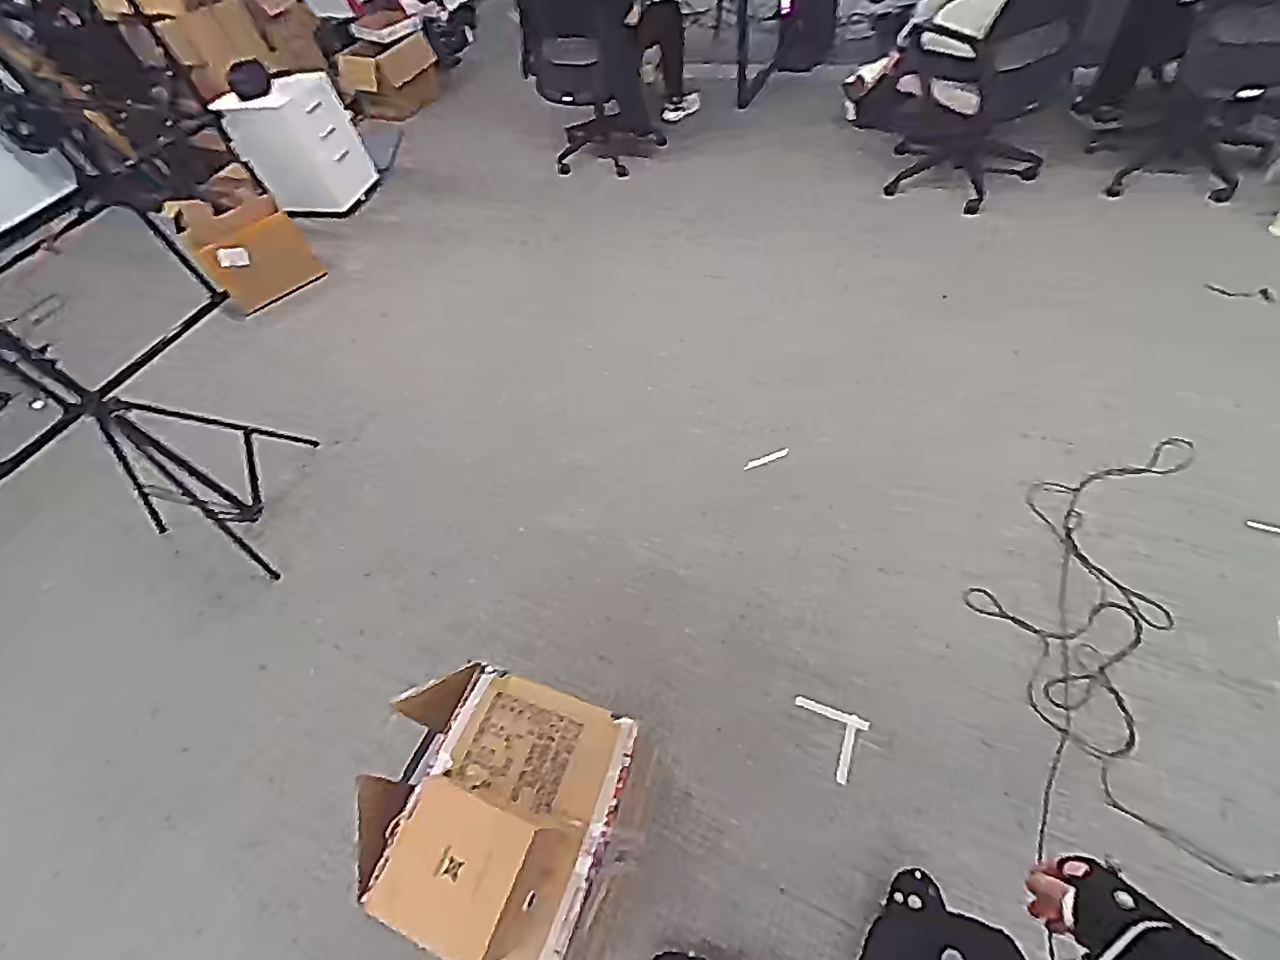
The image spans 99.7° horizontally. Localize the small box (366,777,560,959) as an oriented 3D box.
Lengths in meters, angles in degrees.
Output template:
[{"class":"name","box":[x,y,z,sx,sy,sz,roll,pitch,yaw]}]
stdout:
[{"class":"small box","box":[-0.238,0.553,0.775,0.179,0.176,0.168,15,60,15]}]
